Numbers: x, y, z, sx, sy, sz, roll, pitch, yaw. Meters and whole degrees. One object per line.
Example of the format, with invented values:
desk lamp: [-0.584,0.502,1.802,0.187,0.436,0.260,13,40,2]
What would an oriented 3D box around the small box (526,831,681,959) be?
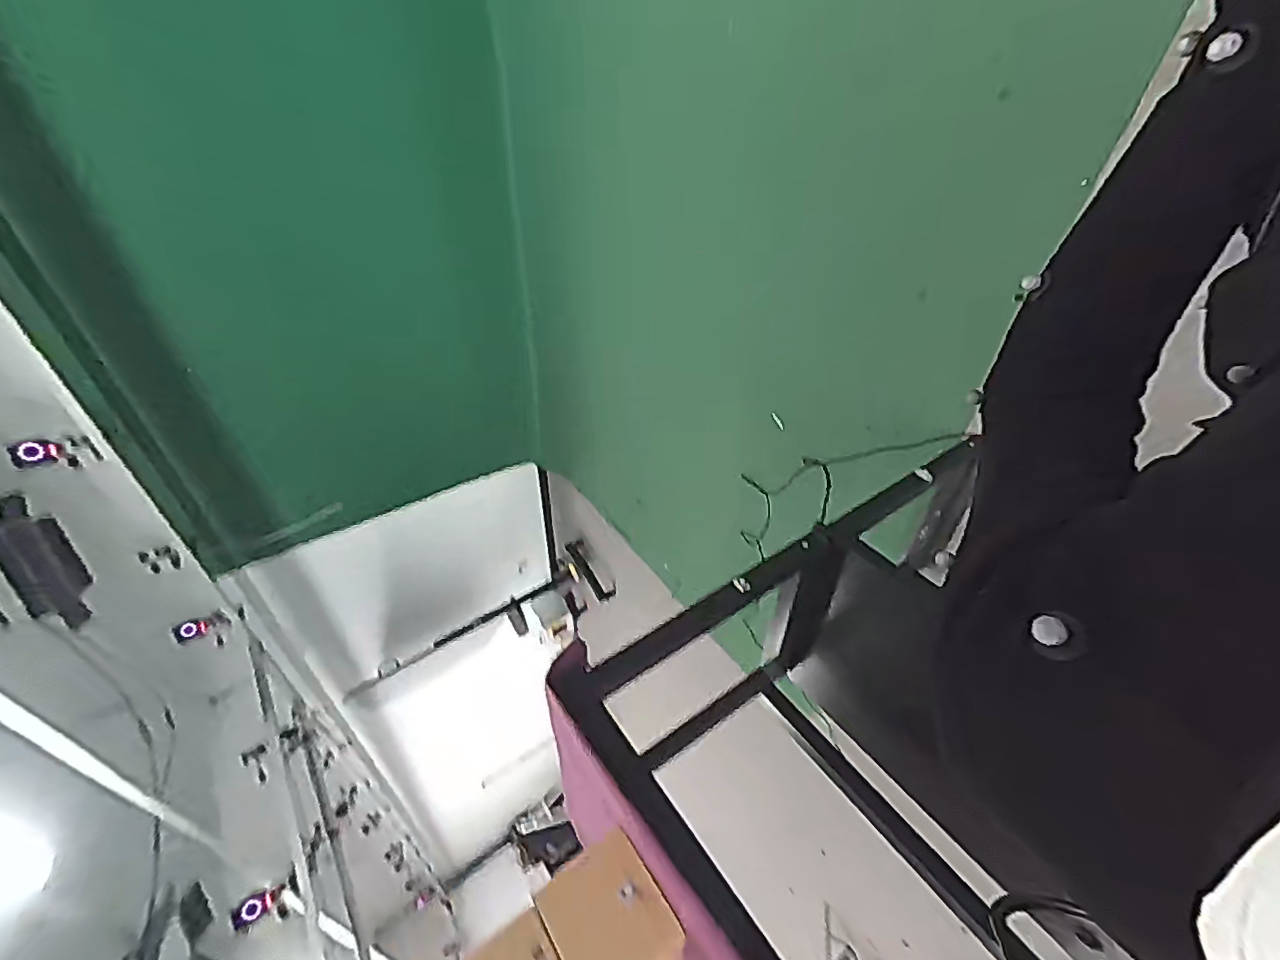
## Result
small box: [-0.057,0.695,0.850,0.179,0.176,0.168,42,145,39]
